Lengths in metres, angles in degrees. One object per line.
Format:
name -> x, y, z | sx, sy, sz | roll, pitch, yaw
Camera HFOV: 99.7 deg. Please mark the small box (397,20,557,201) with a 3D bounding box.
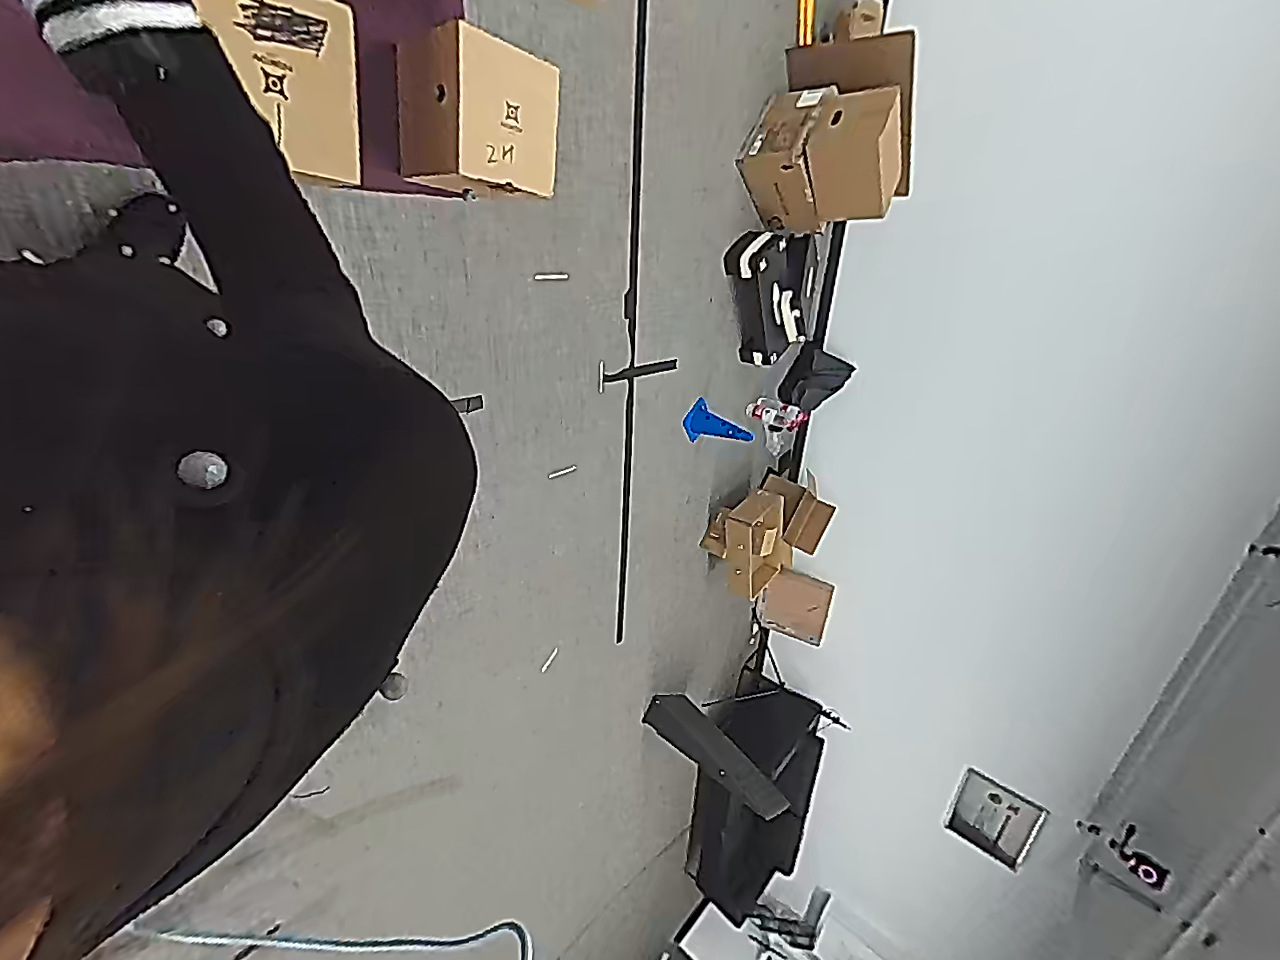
small box -> -0.244, -0.529, 0.804 | 0.168, 0.176, 0.179 | -15, 119, -47
